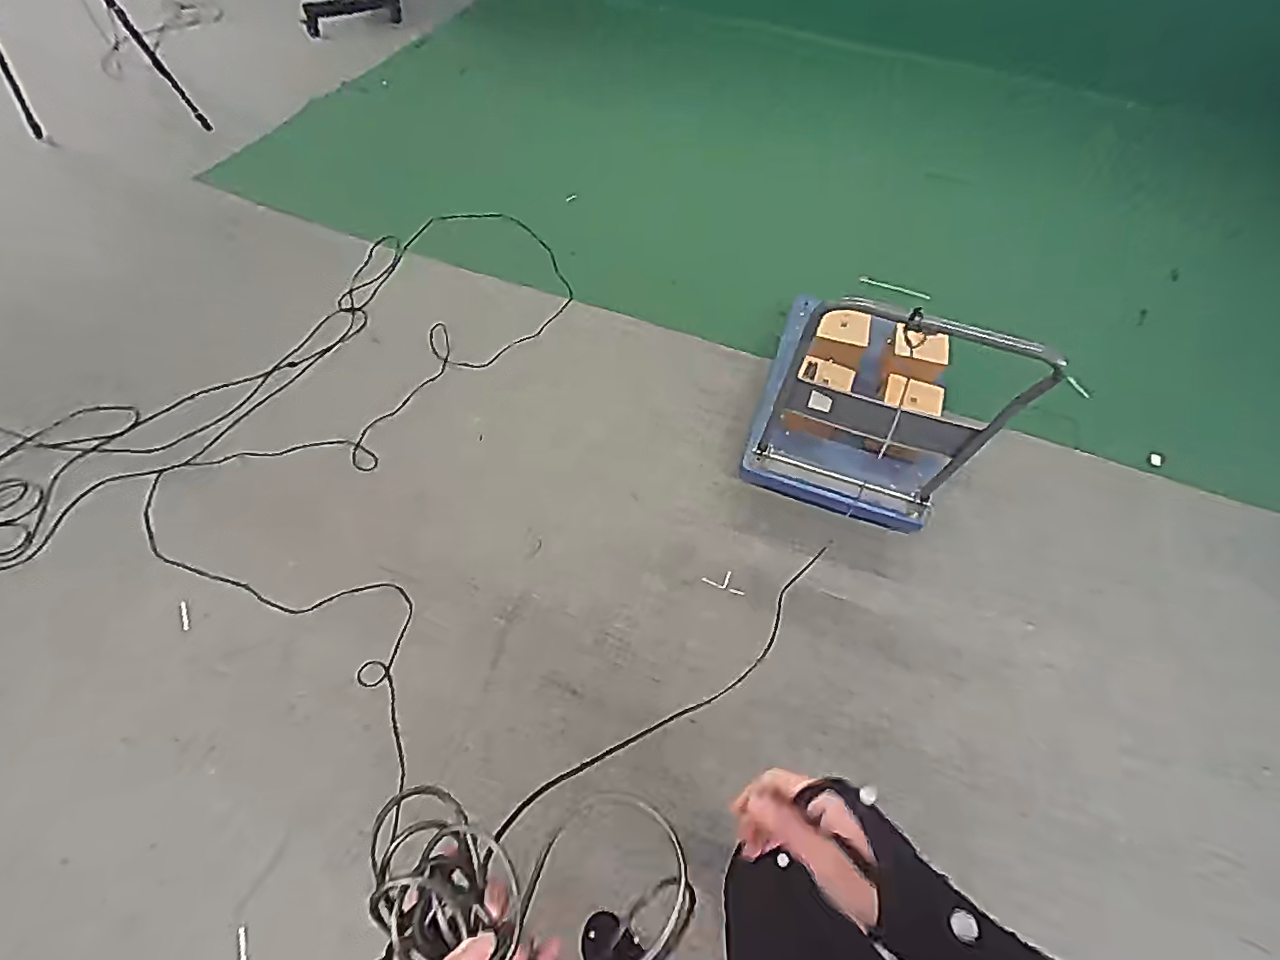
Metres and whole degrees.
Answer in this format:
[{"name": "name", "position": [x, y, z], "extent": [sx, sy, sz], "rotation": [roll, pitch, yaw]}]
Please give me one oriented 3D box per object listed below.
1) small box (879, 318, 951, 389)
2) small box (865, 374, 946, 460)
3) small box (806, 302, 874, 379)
[{"name": "small box", "position": [0.921, -0.408, 1.819], "extent": [0.168, 0.176, 0.179], "rotation": [15, 60, 8]}, {"name": "small box", "position": [0.823, -0.194, 1.686], "extent": [0.168, 0.176, 0.179], "rotation": [20, 61, 10]}, {"name": "small box", "position": [0.681, -0.474, 1.852], "extent": [0.168, 0.176, 0.179], "rotation": [16, 59, 7]}]
